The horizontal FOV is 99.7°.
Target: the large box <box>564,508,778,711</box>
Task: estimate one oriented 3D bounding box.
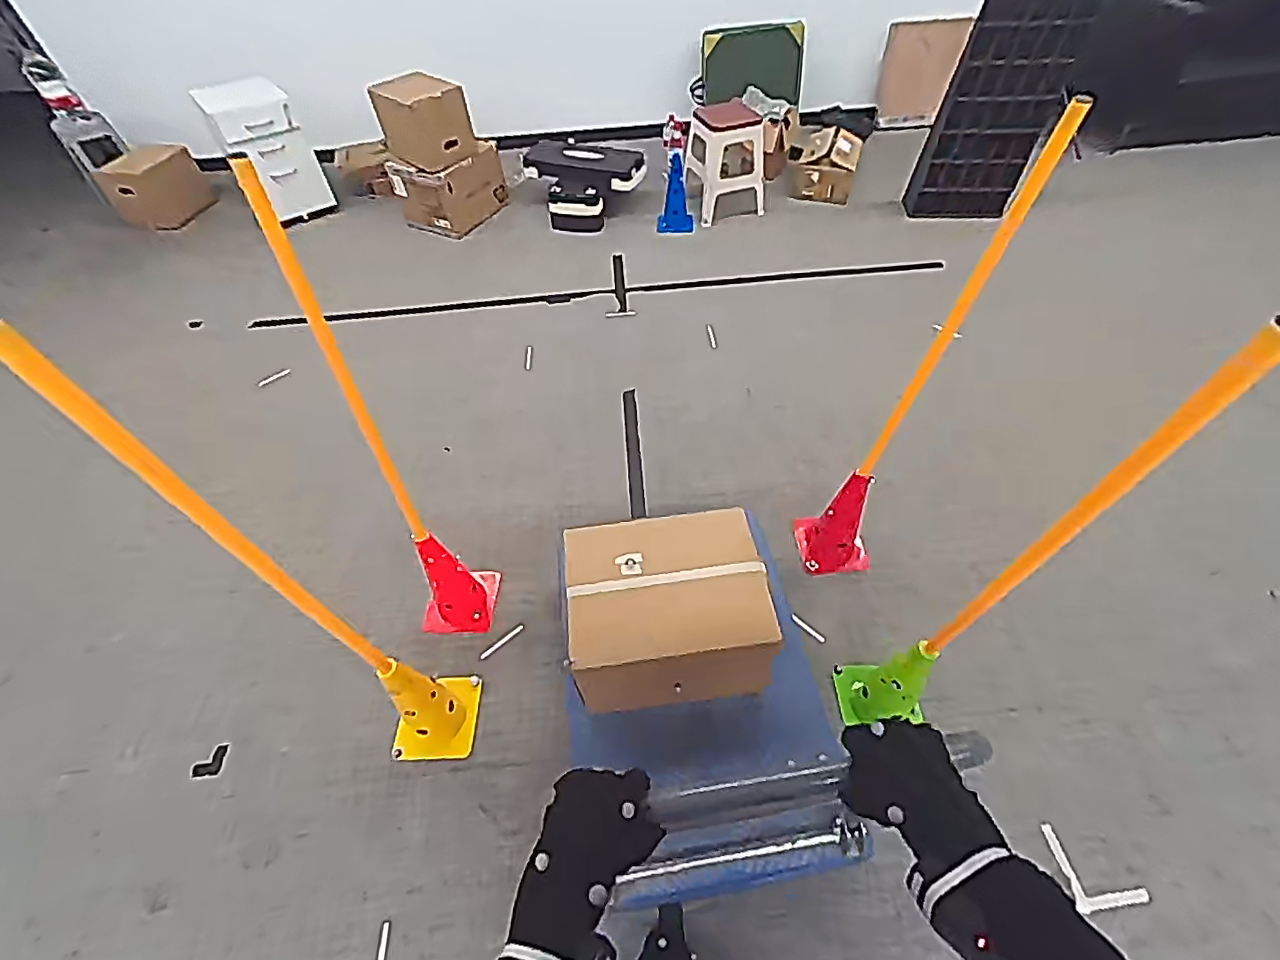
[{"bbox_3d":[0.059,0.301,1.226,0.408,0.320,0.320,-8,52,-2],"label":"large box"}]

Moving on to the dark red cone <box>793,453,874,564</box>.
[{"bbox_3d":[0.587,0.070,1.545,0.201,0.394,0.202,-4,51,-3],"label":"dark red cone"}]

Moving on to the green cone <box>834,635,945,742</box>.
[{"bbox_3d":[0.609,0.456,1.252,0.202,0.368,0.200,-2,51,0],"label":"green cone"}]

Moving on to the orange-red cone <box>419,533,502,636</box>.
[{"bbox_3d":[-0.530,0.258,1.484,0.198,0.360,0.199,1,50,3],"label":"orange-red cone"}]
